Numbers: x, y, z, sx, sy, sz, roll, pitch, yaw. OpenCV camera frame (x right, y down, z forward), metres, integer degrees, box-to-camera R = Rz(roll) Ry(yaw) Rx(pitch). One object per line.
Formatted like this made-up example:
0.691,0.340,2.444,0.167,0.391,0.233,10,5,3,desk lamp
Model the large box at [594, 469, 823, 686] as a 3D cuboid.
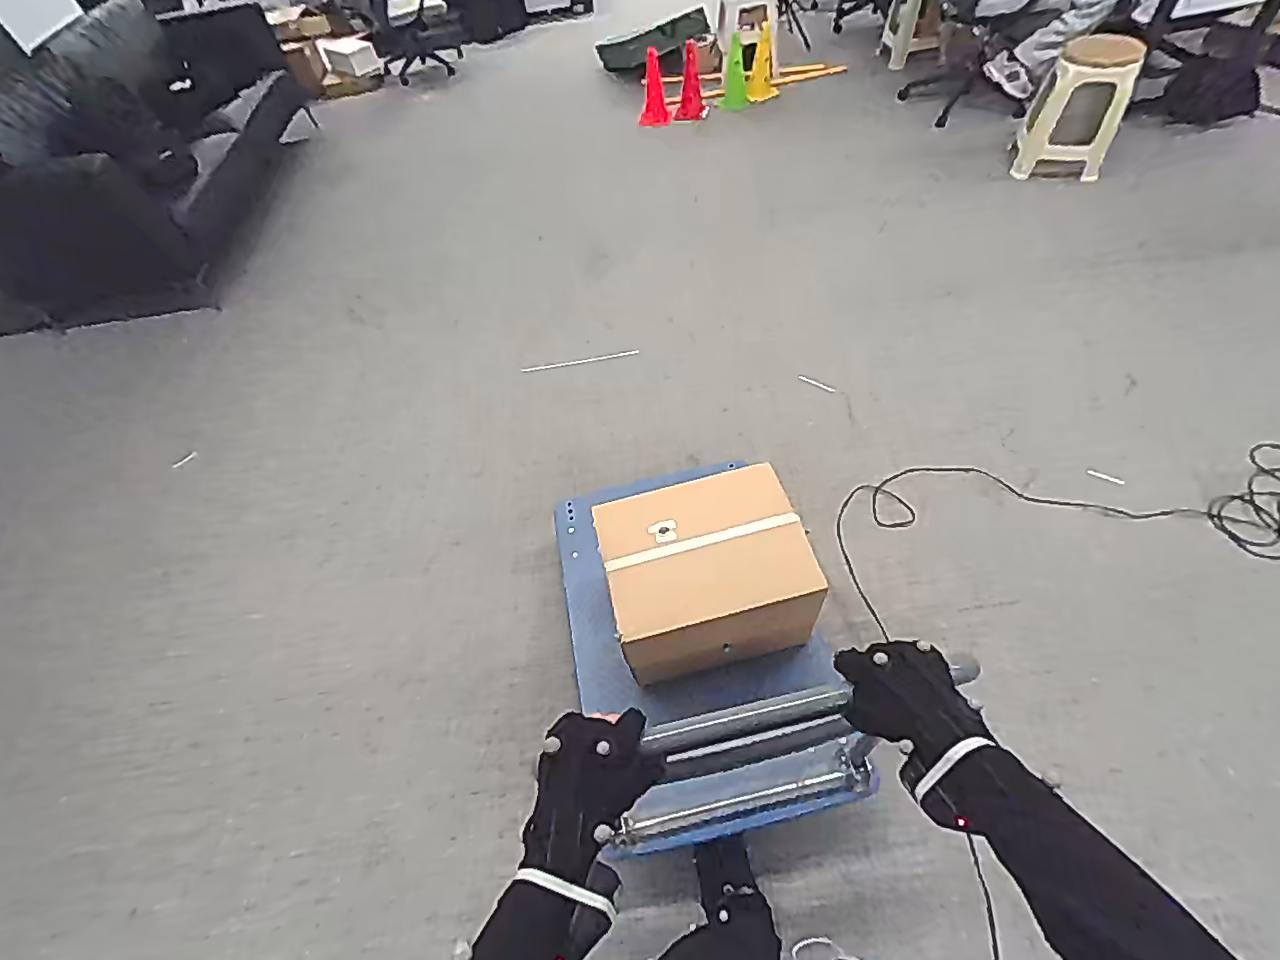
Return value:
0.143,0.228,1.221,0.408,0.320,0.320,-15,53,-1,large box
